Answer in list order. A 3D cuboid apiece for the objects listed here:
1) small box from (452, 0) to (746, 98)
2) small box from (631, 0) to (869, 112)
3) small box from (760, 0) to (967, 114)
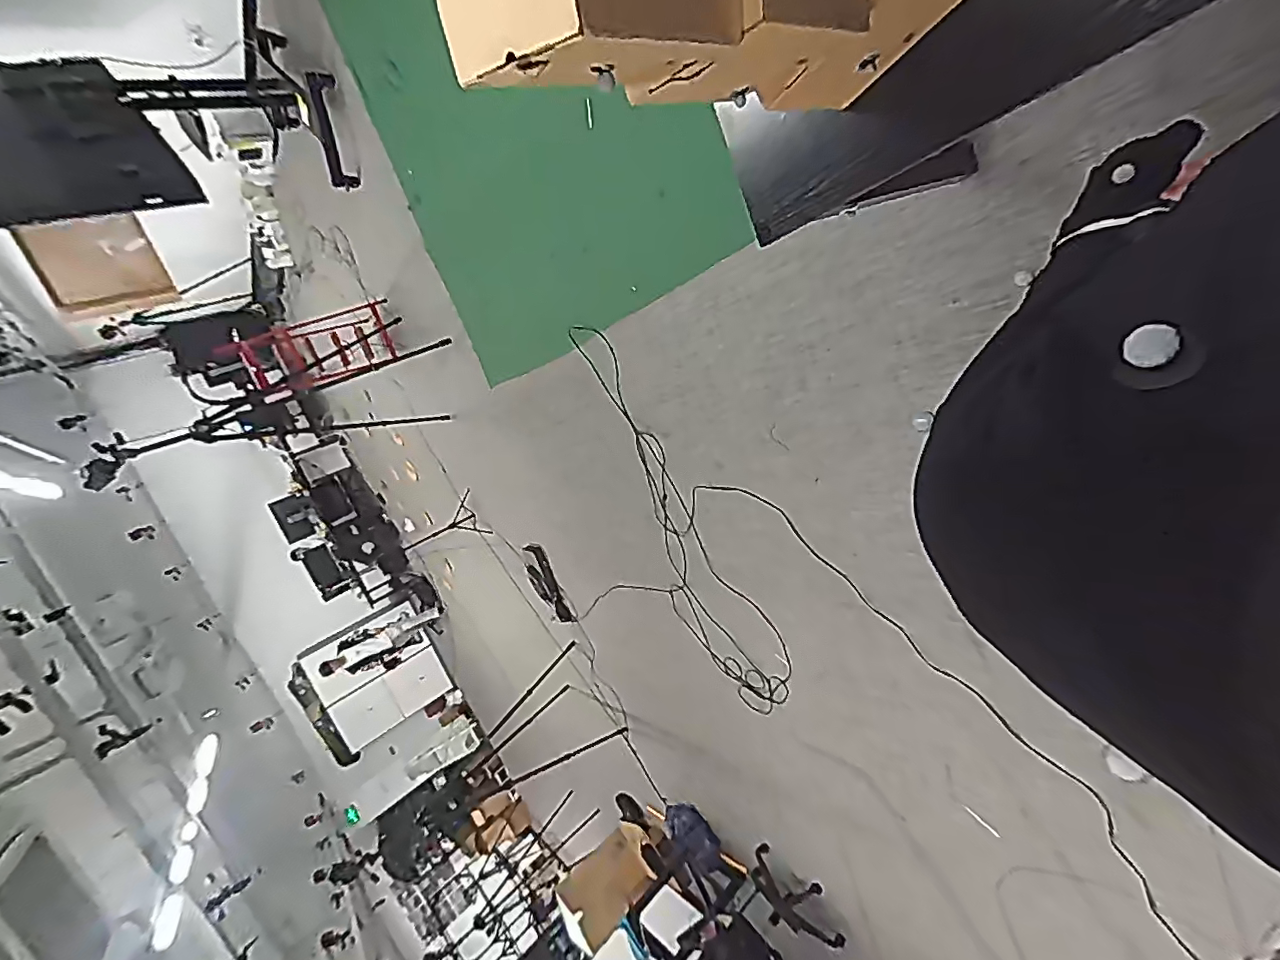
[{"bbox_3d":[-0.033,-0.403,0.398,0.168,0.176,0.179,22,132,41],"label":"small box"},{"bbox_3d":[0.089,-0.464,0.489,0.168,0.176,0.179,11,122,48],"label":"small box"},{"bbox_3d":[0.210,-0.530,0.578,0.168,0.176,0.179,-22,97,55],"label":"small box"}]
